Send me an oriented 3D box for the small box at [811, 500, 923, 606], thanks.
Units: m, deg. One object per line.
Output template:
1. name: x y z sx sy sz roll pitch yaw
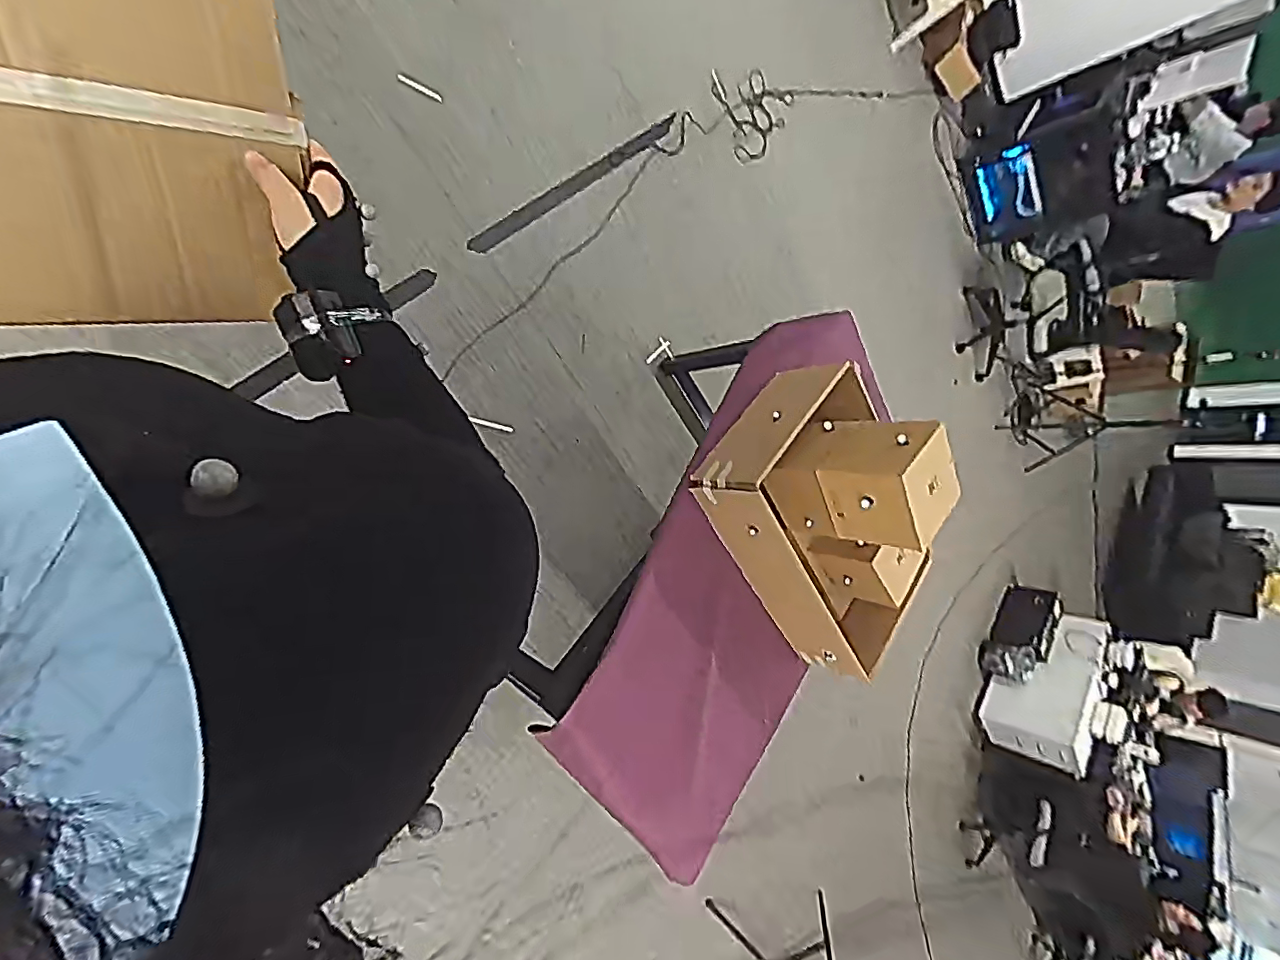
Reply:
1. small box: 0.532 0.165 1.282 0.179 0.176 0.168 -51 120 -23

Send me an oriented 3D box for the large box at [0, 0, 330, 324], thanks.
1. large box: -0.541 -0.312 0.465 0.408 0.320 0.320 -13 117 -36
